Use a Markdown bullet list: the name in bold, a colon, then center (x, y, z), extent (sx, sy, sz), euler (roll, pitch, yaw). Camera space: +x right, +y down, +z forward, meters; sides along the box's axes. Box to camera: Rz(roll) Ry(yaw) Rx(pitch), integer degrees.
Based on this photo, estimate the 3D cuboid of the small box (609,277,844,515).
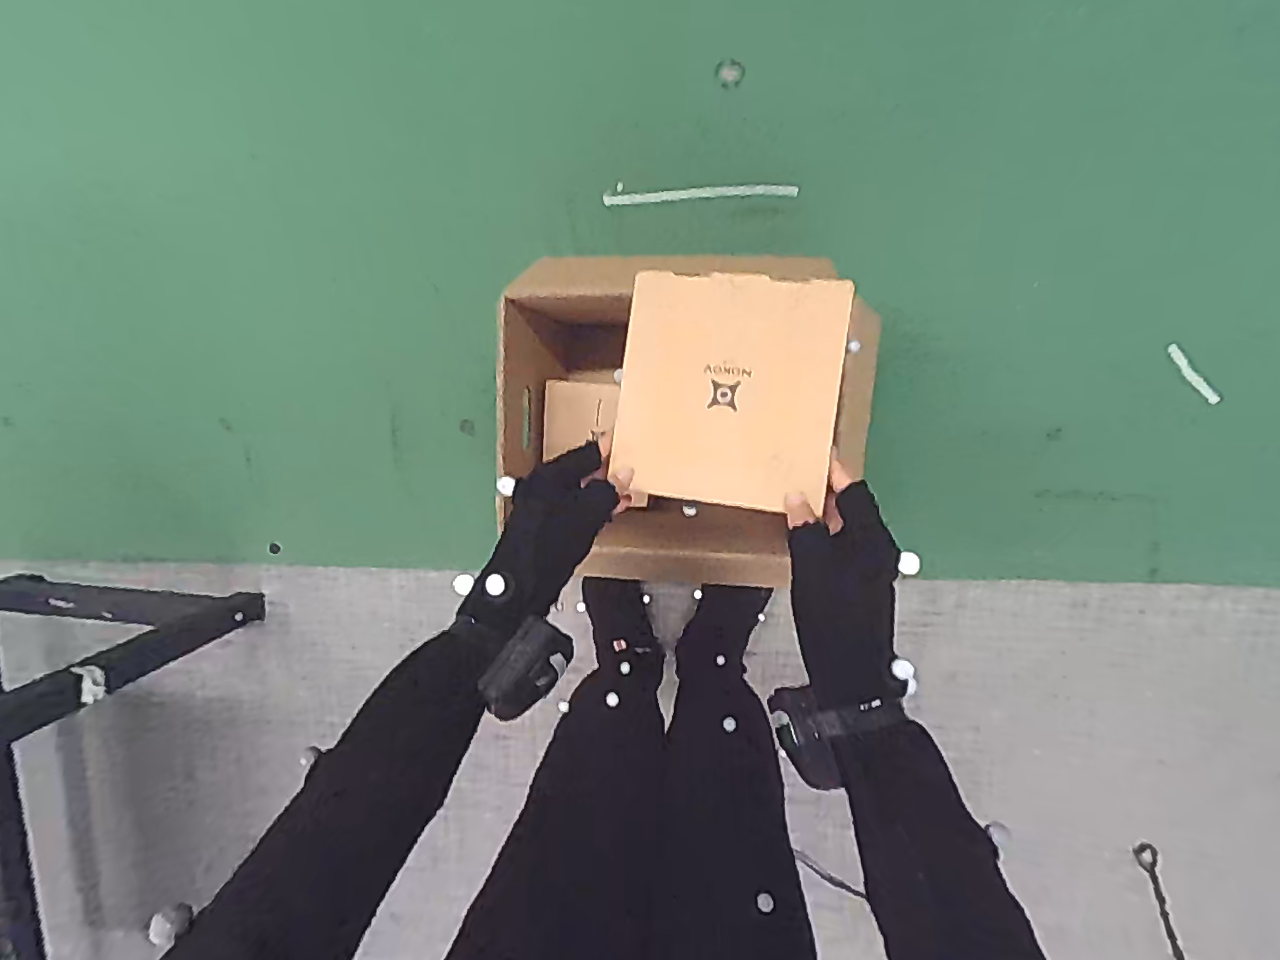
- **small box**: center (0.082, -0.066, 0.499), extent (0.168, 0.176, 0.179), euler (7, 89, 13)
